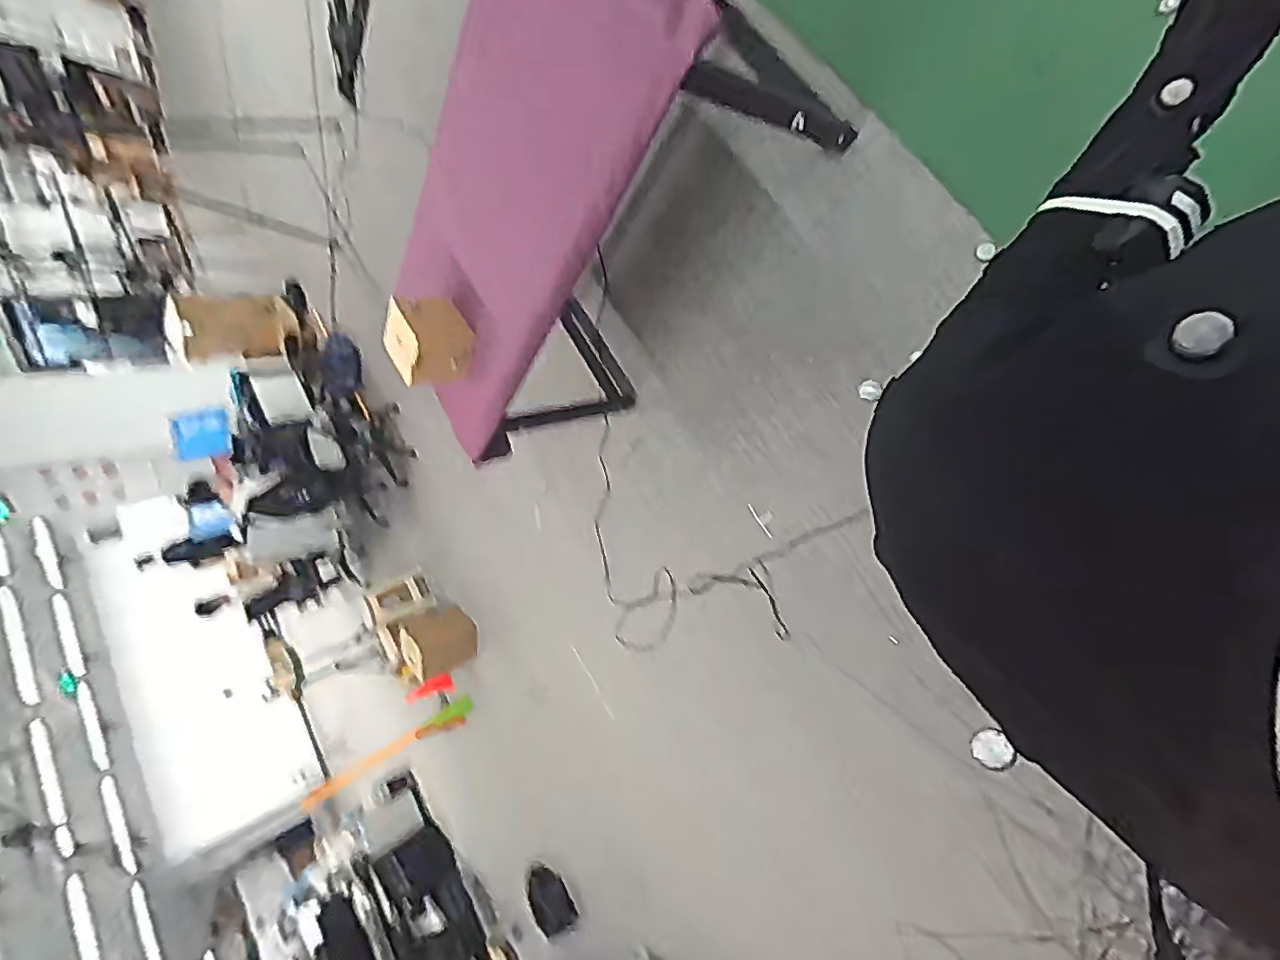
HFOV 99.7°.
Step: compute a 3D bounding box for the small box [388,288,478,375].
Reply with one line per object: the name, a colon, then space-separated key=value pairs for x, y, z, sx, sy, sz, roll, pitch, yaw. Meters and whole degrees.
small box: x=-0.586 y=-0.420 z=1.529 sx=0.179 sy=0.176 sz=0.168 roll=55 pitch=136 yaw=19
